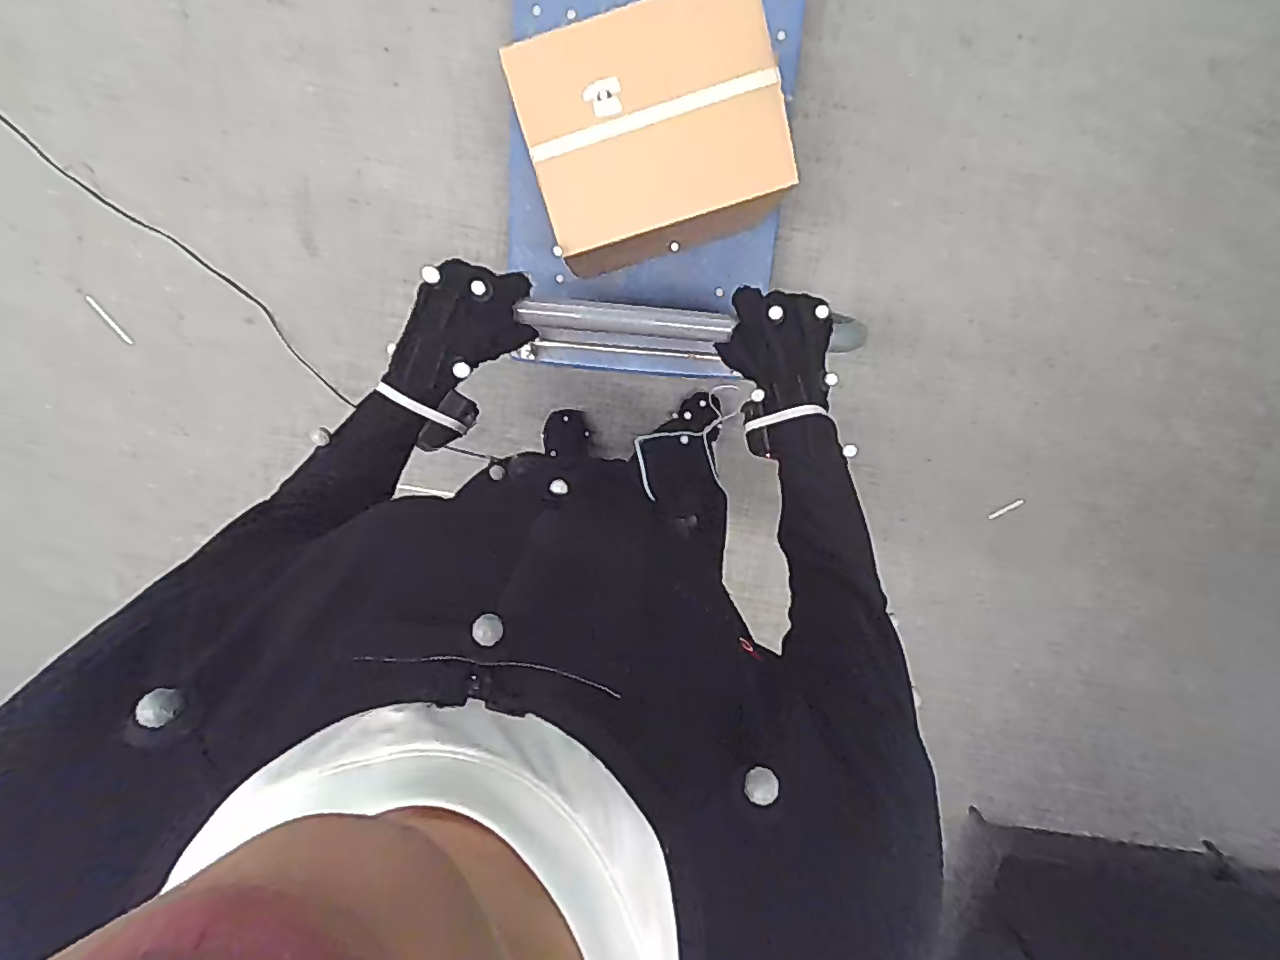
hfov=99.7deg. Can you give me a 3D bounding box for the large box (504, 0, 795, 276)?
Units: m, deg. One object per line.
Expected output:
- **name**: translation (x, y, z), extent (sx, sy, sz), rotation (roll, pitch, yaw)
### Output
- **large box**: translation (0.022, -0.608, 1.001), extent (0.408, 0.320, 0.320), rotation (-17, 102, 4)
